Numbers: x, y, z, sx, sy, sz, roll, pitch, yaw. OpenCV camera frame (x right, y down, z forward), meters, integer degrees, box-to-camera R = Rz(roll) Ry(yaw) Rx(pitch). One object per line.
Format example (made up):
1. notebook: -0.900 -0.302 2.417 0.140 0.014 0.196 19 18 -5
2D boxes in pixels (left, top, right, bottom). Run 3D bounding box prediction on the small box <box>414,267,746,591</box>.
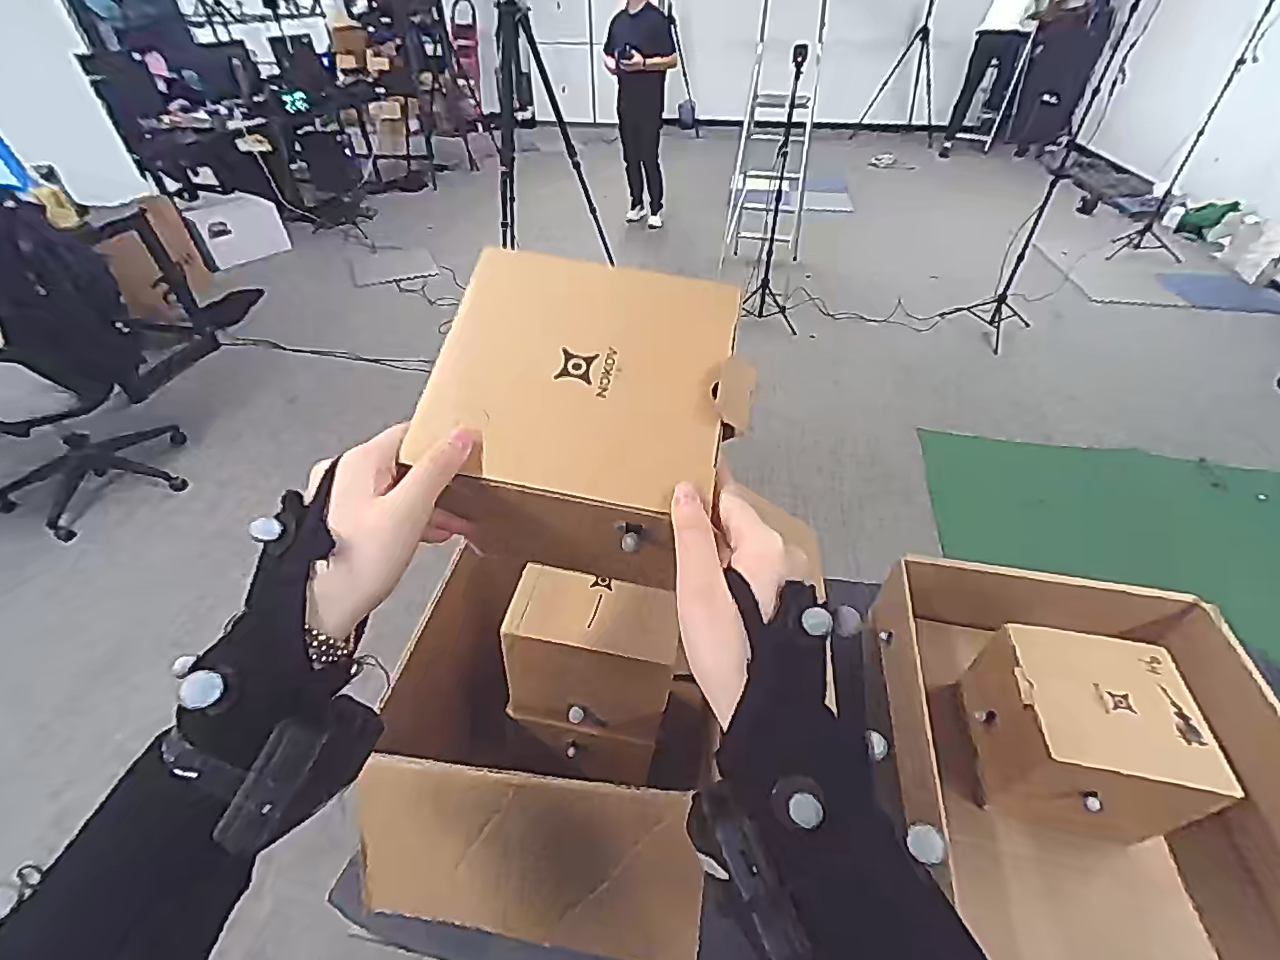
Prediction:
1. small box: -0.032 -0.025 0.406 0.179 0.176 0.168 11 65 2
